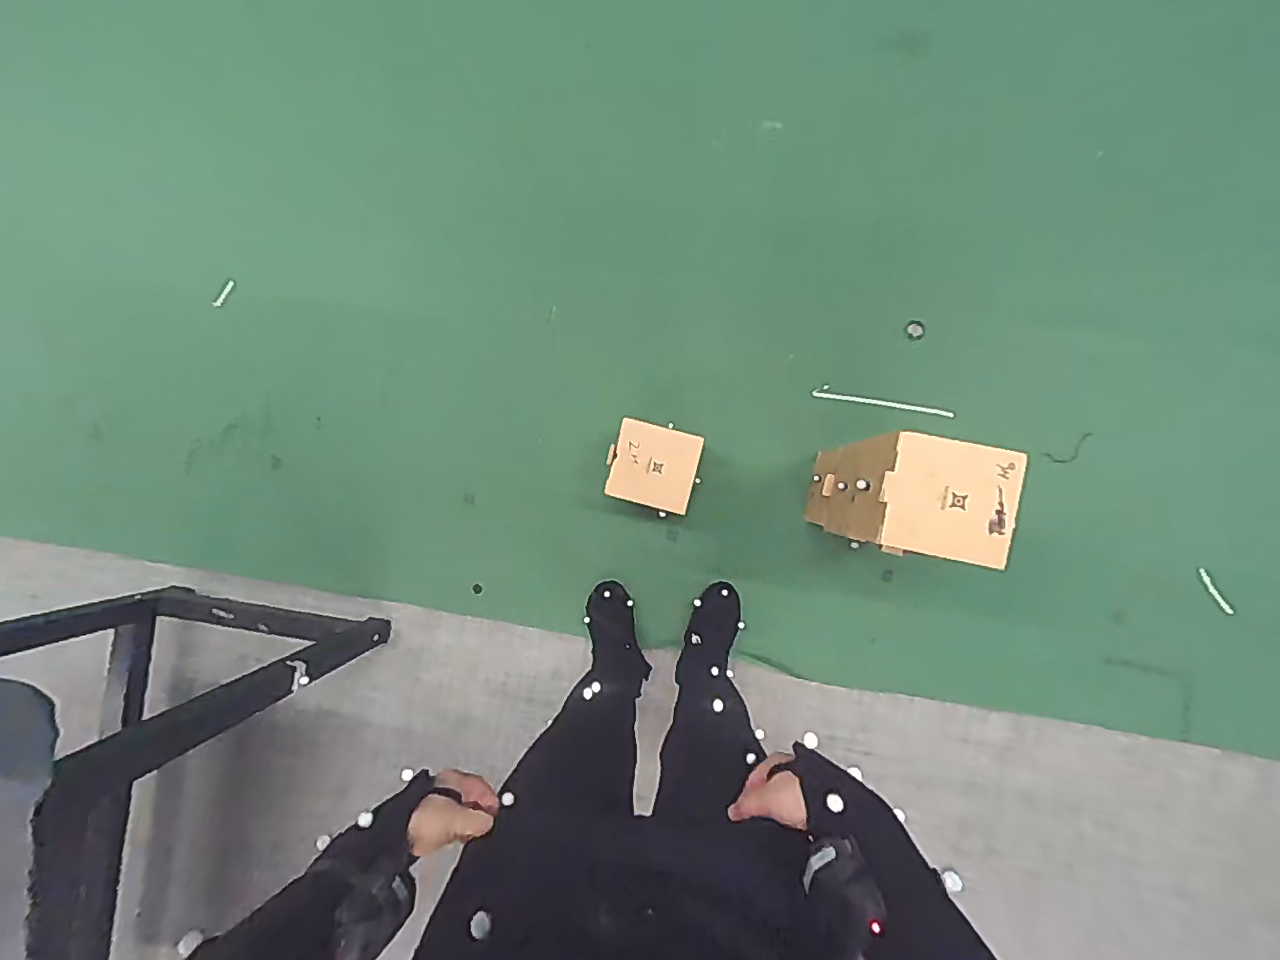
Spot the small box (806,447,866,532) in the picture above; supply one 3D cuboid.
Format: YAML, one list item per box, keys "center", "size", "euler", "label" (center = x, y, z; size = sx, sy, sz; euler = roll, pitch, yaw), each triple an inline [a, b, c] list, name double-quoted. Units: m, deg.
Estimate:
- center: [0.473, 0.028, 1.152]
  size: [0.179, 0.176, 0.168]
  euler: [13, 92, 4]
  label: "small box"

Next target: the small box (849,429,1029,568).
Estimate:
- center: [0.439, 0.026, 0.825]
  size: [0.179, 0.176, 0.168]
  euler: [12, 91, 5]
  label: "small box"

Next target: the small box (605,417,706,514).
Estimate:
- center: [0.036, -0.031, 1.181]
  size: [0.179, 0.176, 0.168]
  euler: [15, 91, 4]
  label: "small box"
